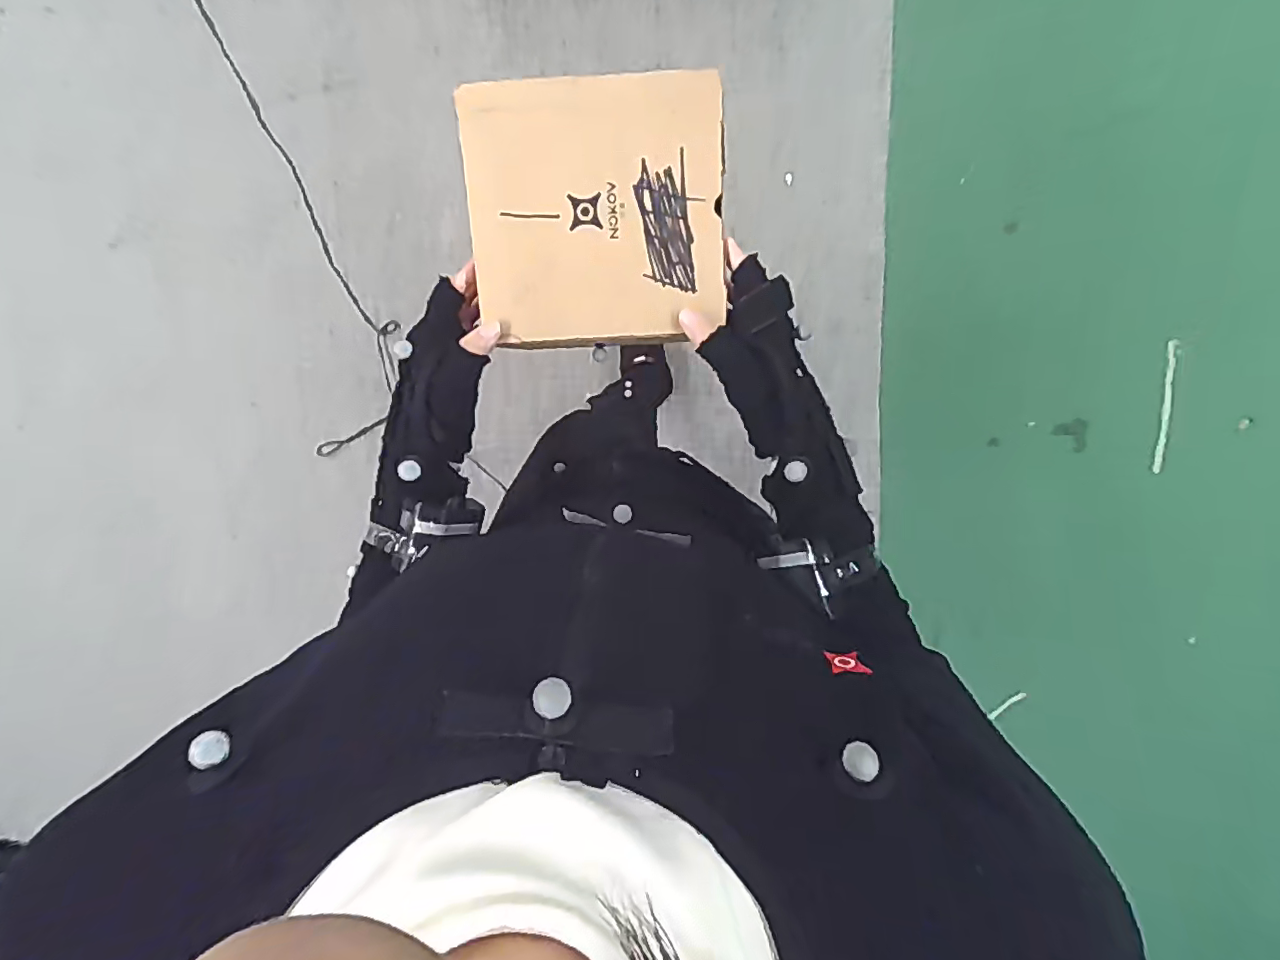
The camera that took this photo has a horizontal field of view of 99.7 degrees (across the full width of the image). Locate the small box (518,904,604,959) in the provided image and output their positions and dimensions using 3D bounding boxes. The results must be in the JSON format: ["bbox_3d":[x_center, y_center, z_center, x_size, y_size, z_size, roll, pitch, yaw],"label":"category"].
[{"bbox_3d":[-0.179,1.116,1.235,0.179,0.176,0.168,-2,98,7],"label":"small box"}]
